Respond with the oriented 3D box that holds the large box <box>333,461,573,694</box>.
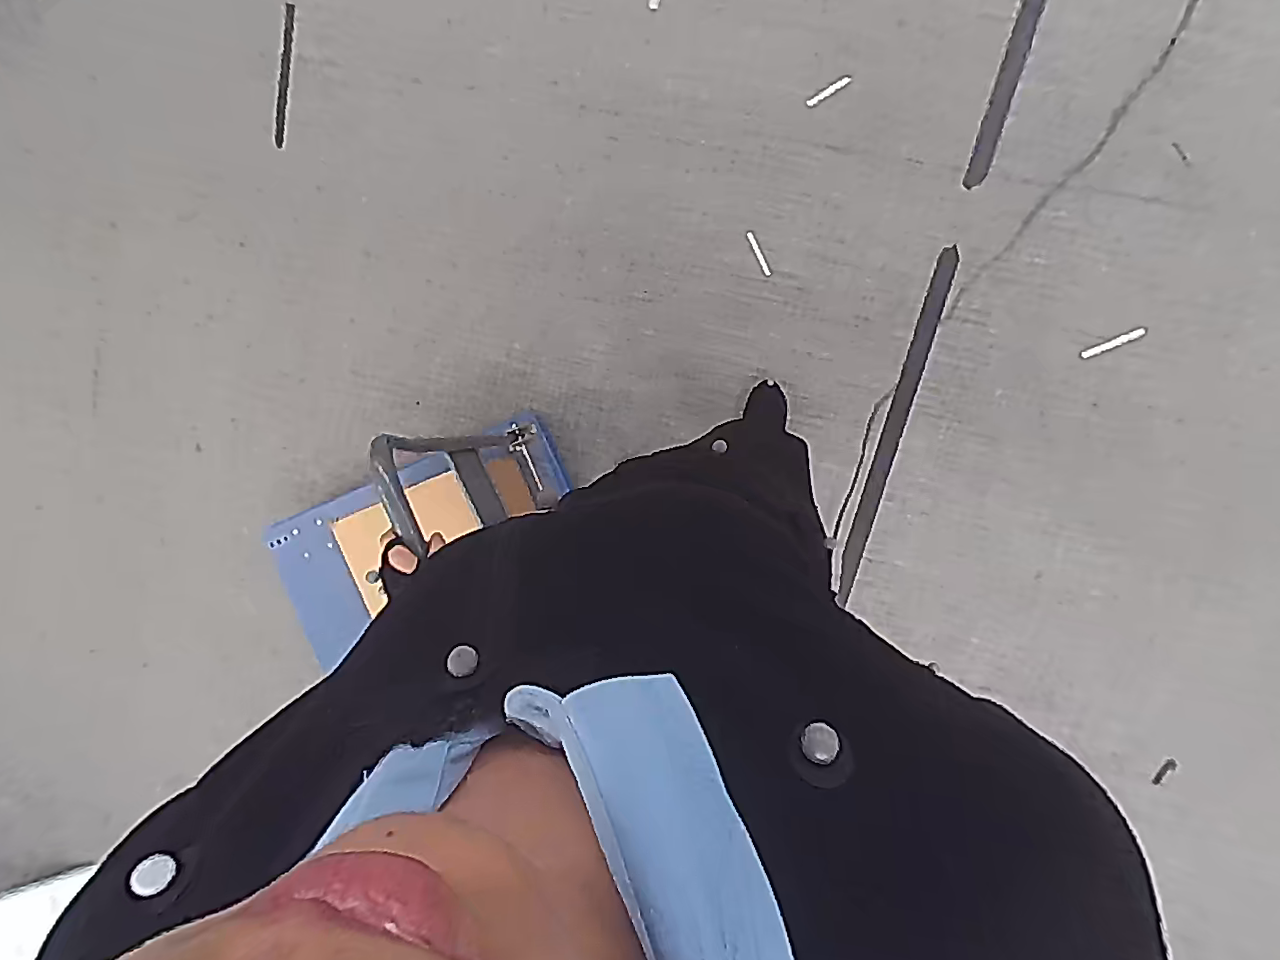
[{"bbox_3d":[-0.403,0.204,1.254,0.320,0.320,0.408,-22,93,10],"label":"large box"}]
